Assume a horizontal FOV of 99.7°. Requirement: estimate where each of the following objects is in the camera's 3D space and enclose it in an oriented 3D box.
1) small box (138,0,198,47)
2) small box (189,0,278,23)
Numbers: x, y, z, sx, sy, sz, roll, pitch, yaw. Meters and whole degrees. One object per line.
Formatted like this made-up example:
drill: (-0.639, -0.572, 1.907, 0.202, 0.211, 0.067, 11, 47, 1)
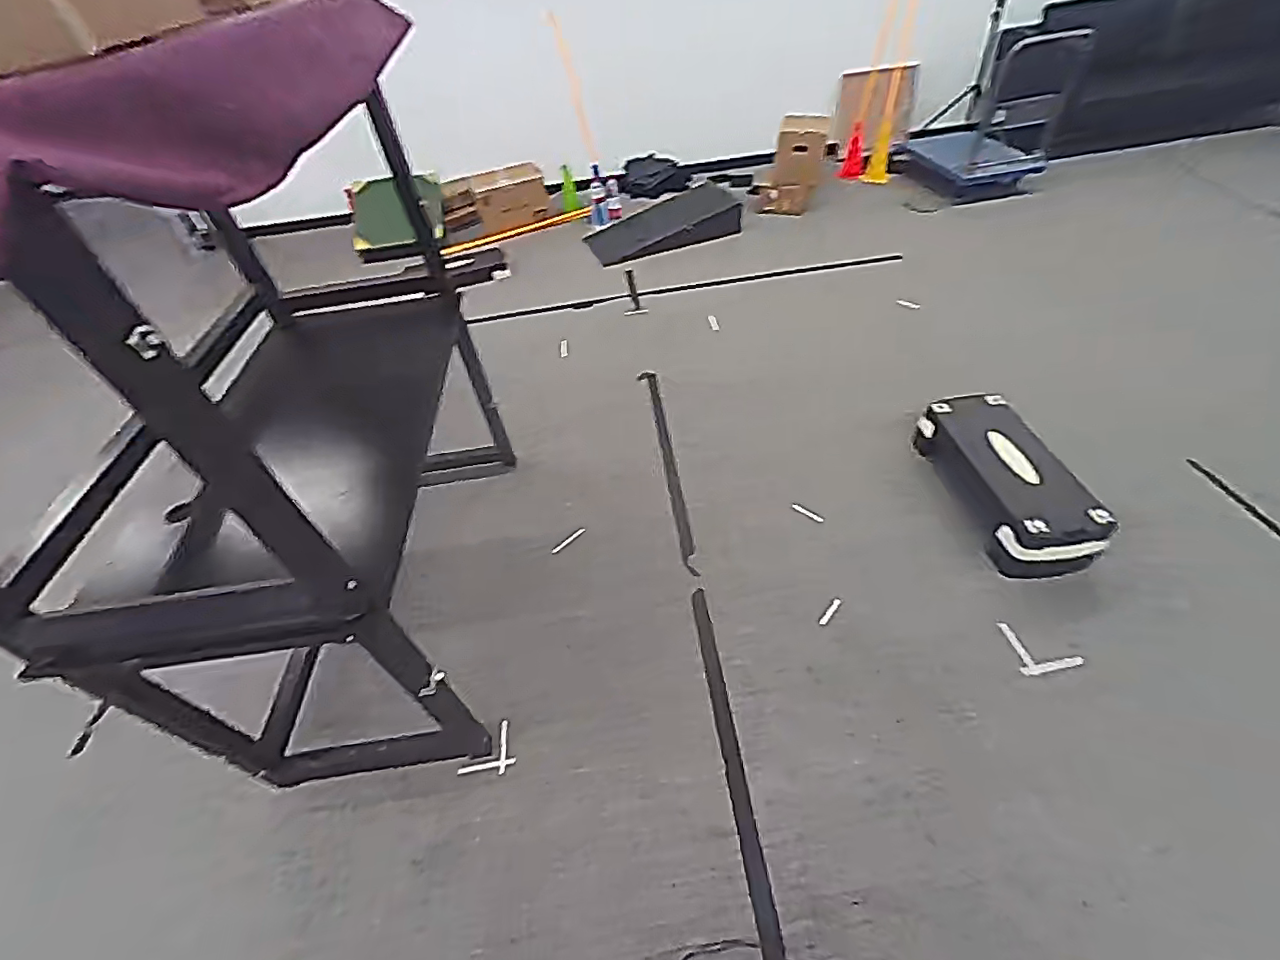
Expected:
small box: (-0.793, -0.729, 0.774, 0.168, 0.176, 0.179, -9, 46, 0)
small box: (-0.831, -0.982, 1.021, 0.168, 0.176, 0.179, -8, 45, 1)
